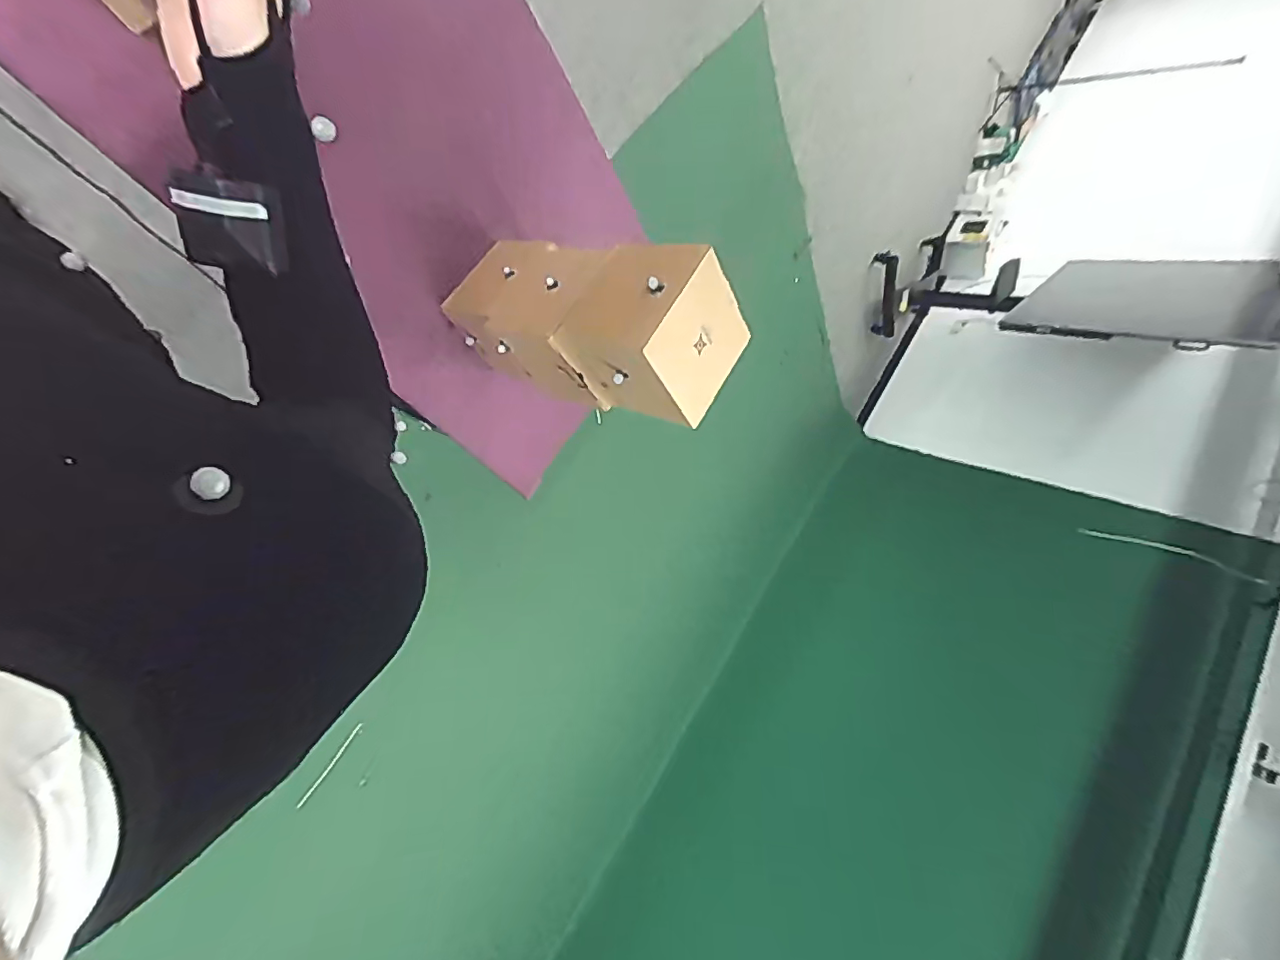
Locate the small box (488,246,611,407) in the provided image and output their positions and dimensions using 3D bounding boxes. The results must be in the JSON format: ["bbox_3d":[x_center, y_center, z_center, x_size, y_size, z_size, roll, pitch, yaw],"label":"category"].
[{"bbox_3d":[-0.113,-0.244,0.857,0.179,0.176,0.168,-58,140,-16],"label":"small box"}]

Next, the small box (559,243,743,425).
[{"bbox_3d":[0.011,-0.206,0.760,0.179,0.176,0.168,-59,140,-14],"label":"small box"}]

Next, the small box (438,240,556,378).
[{"bbox_3d":[-0.221,-0.307,0.965,0.179,0.176,0.168,-55,139,-16],"label":"small box"}]
